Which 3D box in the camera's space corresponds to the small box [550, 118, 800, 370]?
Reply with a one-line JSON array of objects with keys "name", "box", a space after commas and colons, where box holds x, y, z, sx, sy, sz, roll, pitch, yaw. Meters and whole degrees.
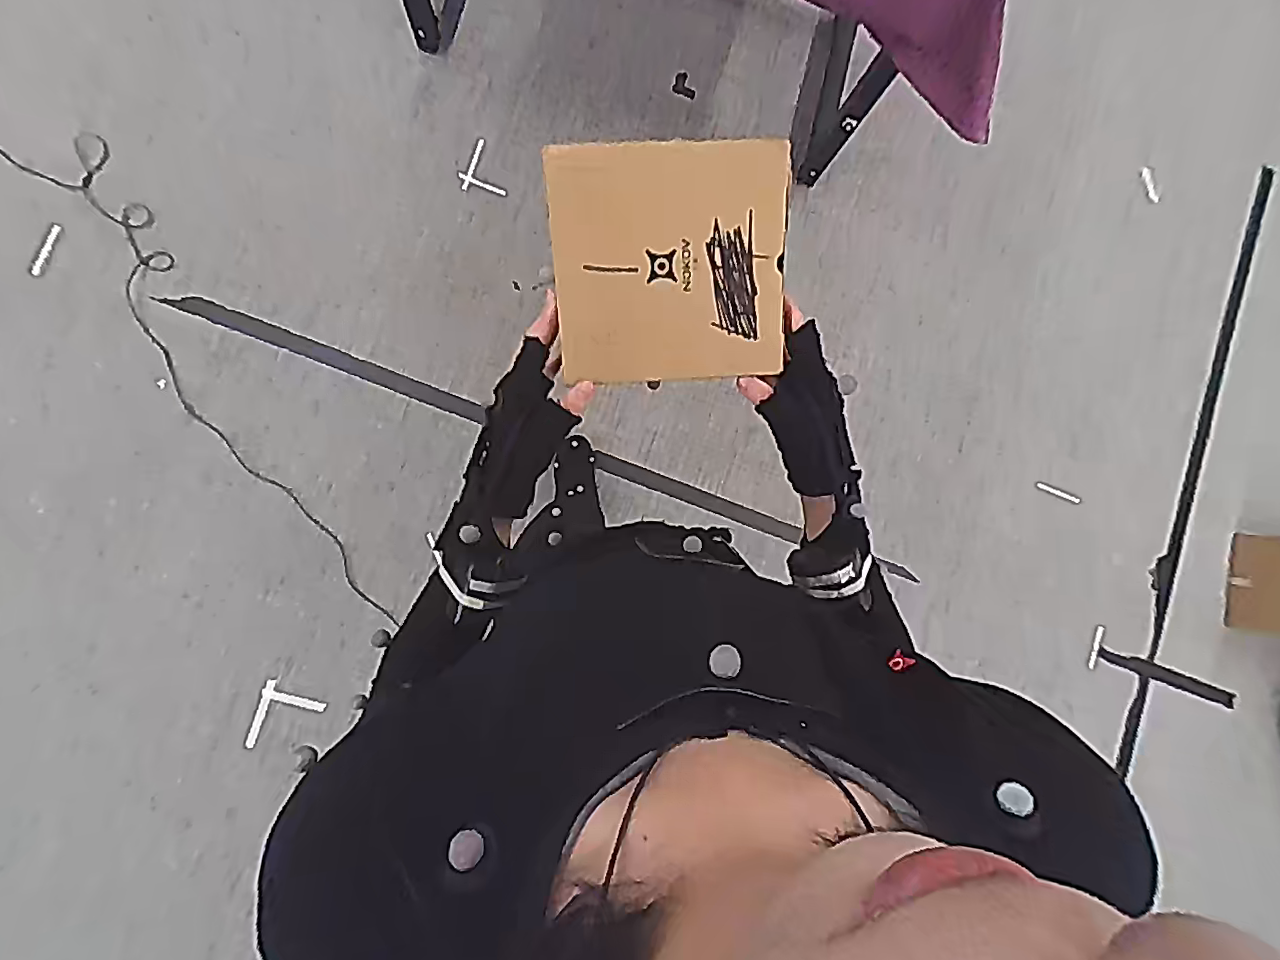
[{"name": "small box", "box": [0.017, -0.187, 0.464, 0.179, 0.176, 0.168, -3, 106, -6]}]
